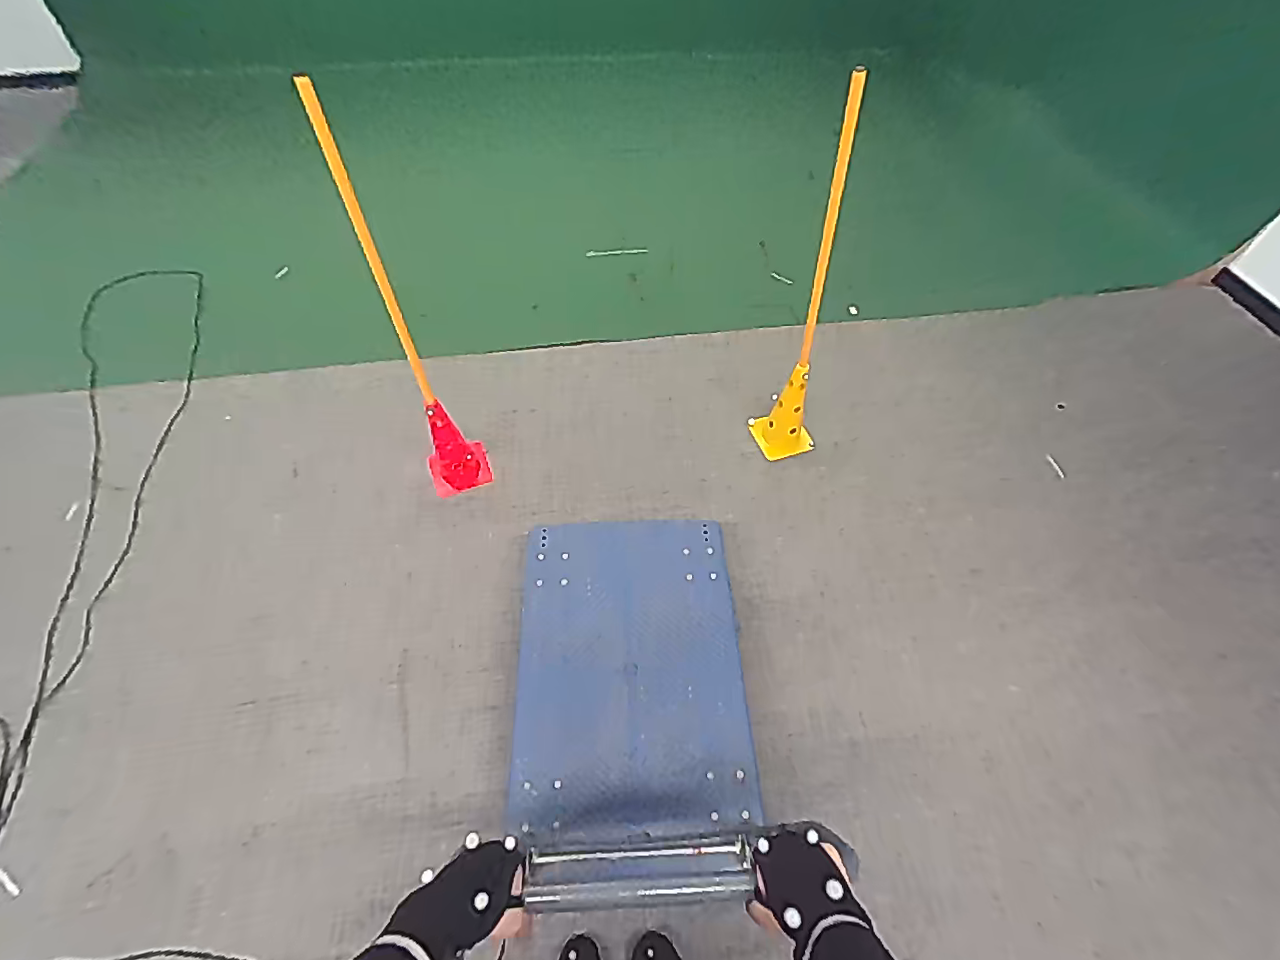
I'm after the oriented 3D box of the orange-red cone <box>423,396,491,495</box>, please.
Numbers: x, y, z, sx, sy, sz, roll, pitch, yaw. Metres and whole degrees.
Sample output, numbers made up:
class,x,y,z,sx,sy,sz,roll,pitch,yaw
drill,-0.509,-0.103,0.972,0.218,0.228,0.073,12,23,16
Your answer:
class,x,y,z,sx,sy,sz,roll,pitch,yaw
orange-red cone,-0.644,-0.141,1.788,0.199,0.360,0.198,-19,57,-12
